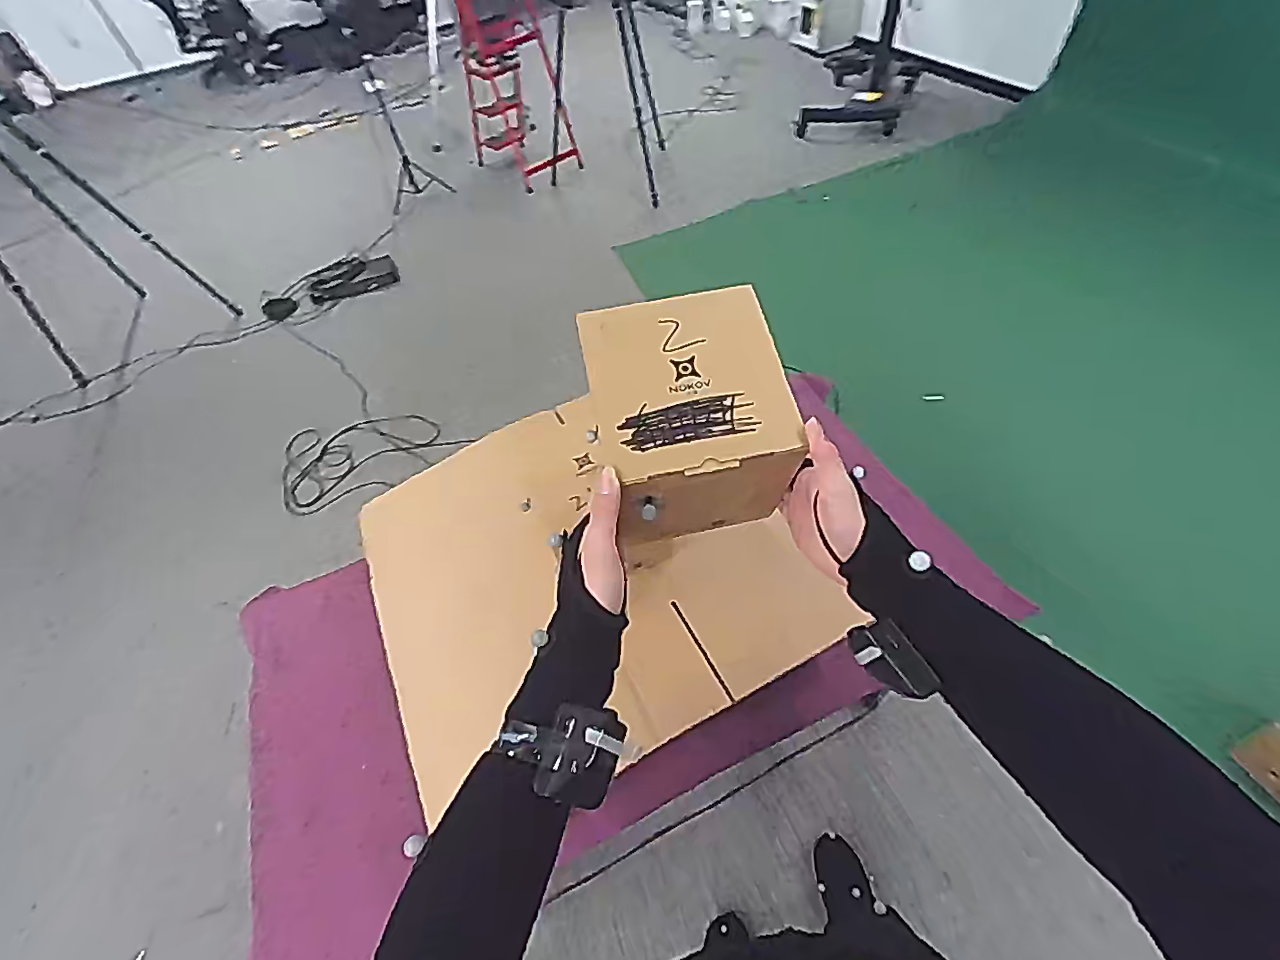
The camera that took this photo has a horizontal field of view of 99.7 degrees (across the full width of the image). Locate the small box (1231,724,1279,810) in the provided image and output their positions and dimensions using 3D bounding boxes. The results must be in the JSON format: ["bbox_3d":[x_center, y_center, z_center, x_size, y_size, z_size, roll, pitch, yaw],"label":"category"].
[{"bbox_3d":[1.542,0.655,1.234,0.179,0.176,0.168,-23,53,-10],"label":"small box"}]

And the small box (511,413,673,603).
[{"bbox_3d":[-0.064,0.041,0.767,0.168,0.176,0.179,-24,54,-13],"label":"small box"}]
